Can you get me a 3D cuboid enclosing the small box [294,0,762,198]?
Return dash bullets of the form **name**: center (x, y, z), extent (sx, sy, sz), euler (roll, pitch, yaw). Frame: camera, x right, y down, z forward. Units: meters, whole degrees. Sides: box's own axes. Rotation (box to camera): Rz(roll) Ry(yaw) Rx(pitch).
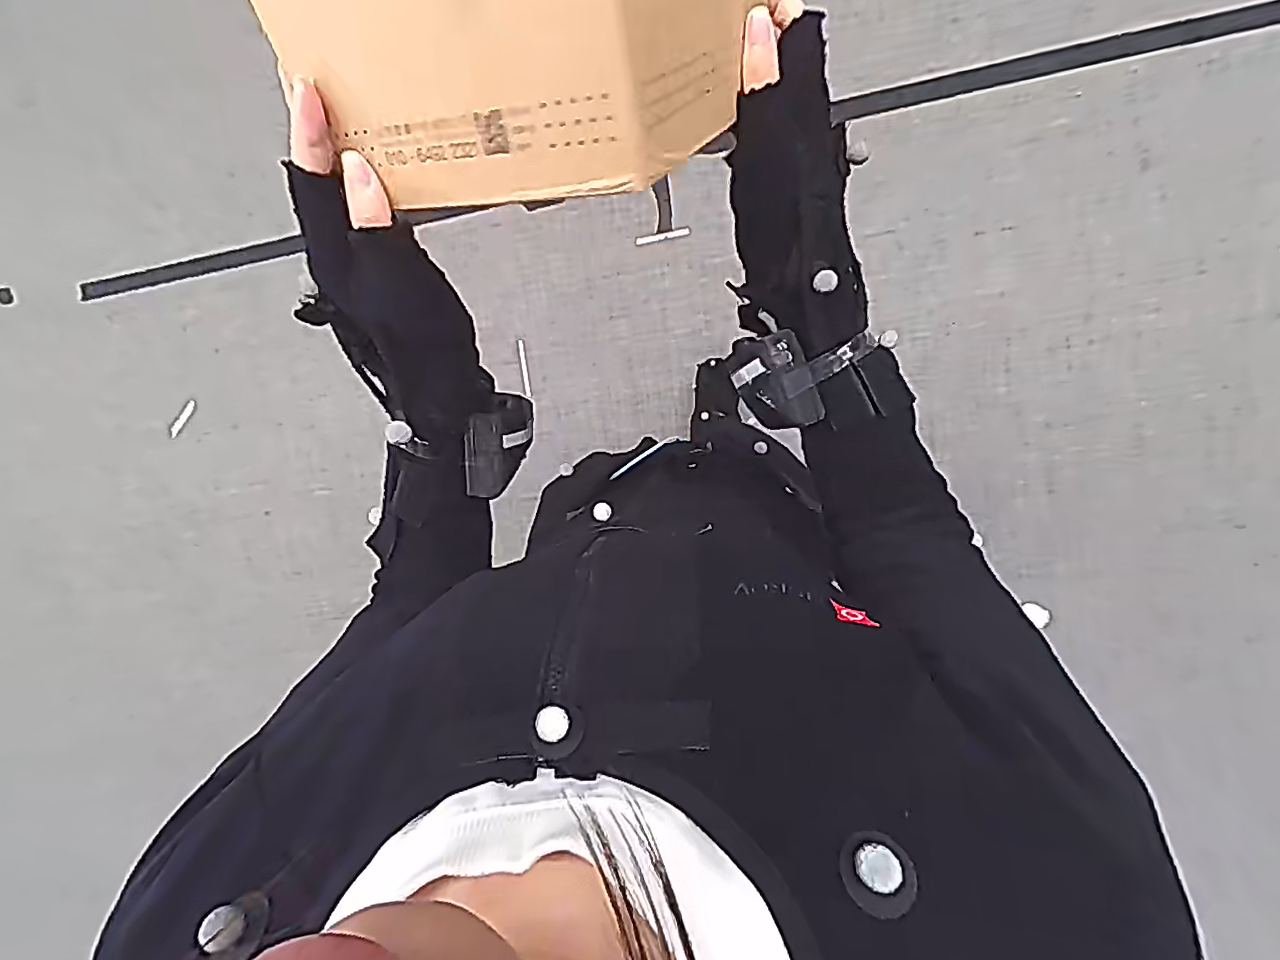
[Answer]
- **small box**: center (-0.045, -0.245, 0.253), extent (0.168, 0.179, 0.176), euler (13, 137, 27)
